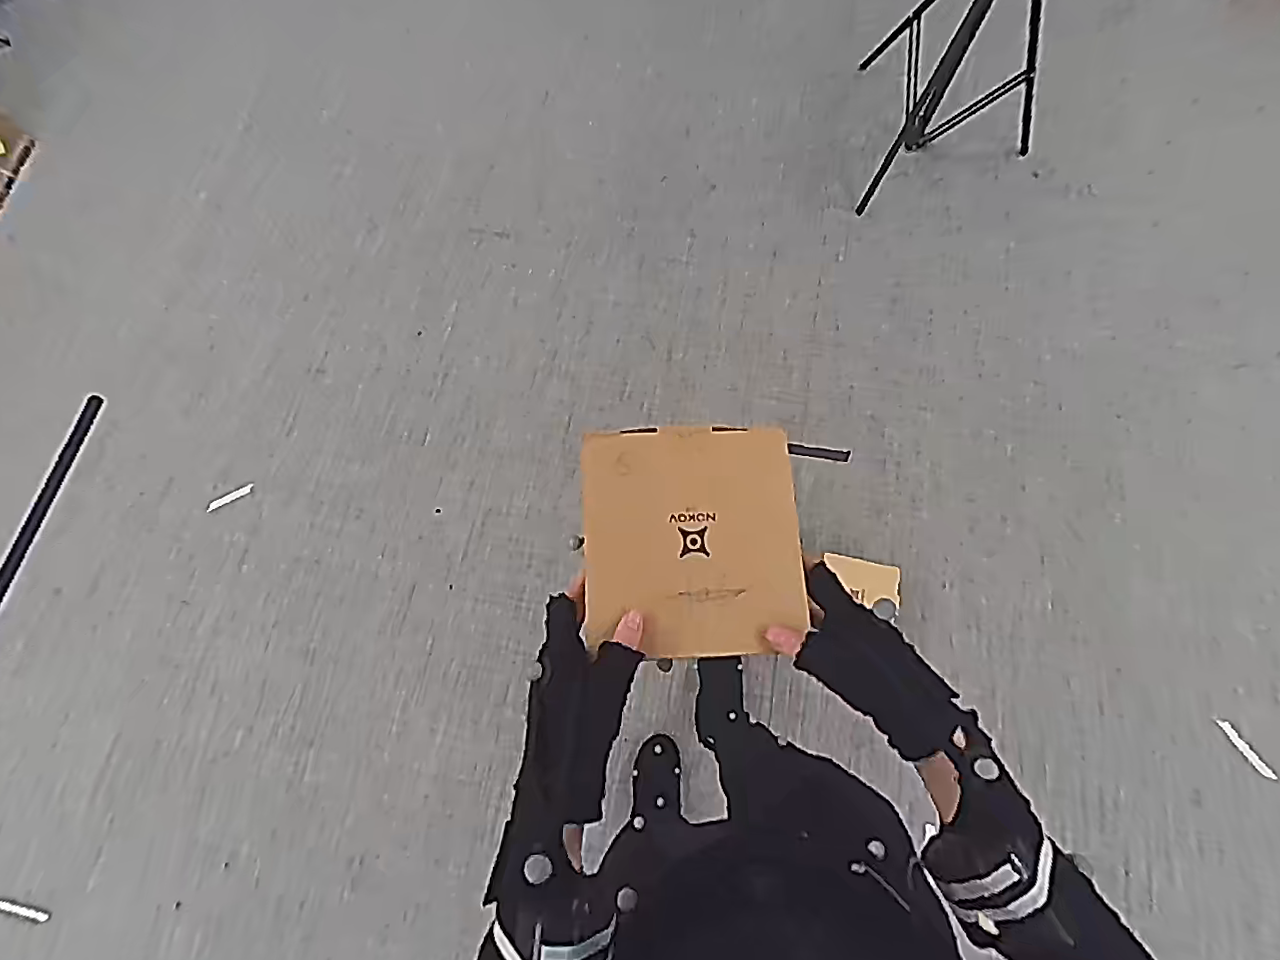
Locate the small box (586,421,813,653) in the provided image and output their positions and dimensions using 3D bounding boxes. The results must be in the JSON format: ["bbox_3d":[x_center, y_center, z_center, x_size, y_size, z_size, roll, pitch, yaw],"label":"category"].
[{"bbox_3d":[0.035,0.059,0.485,0.168,0.176,0.179,-2,75,-4],"label":"small box"}]

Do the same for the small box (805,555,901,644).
[{"bbox_3d":[0.489,0.285,1.286,0.179,0.176,0.168,13,75,5],"label":"small box"}]
